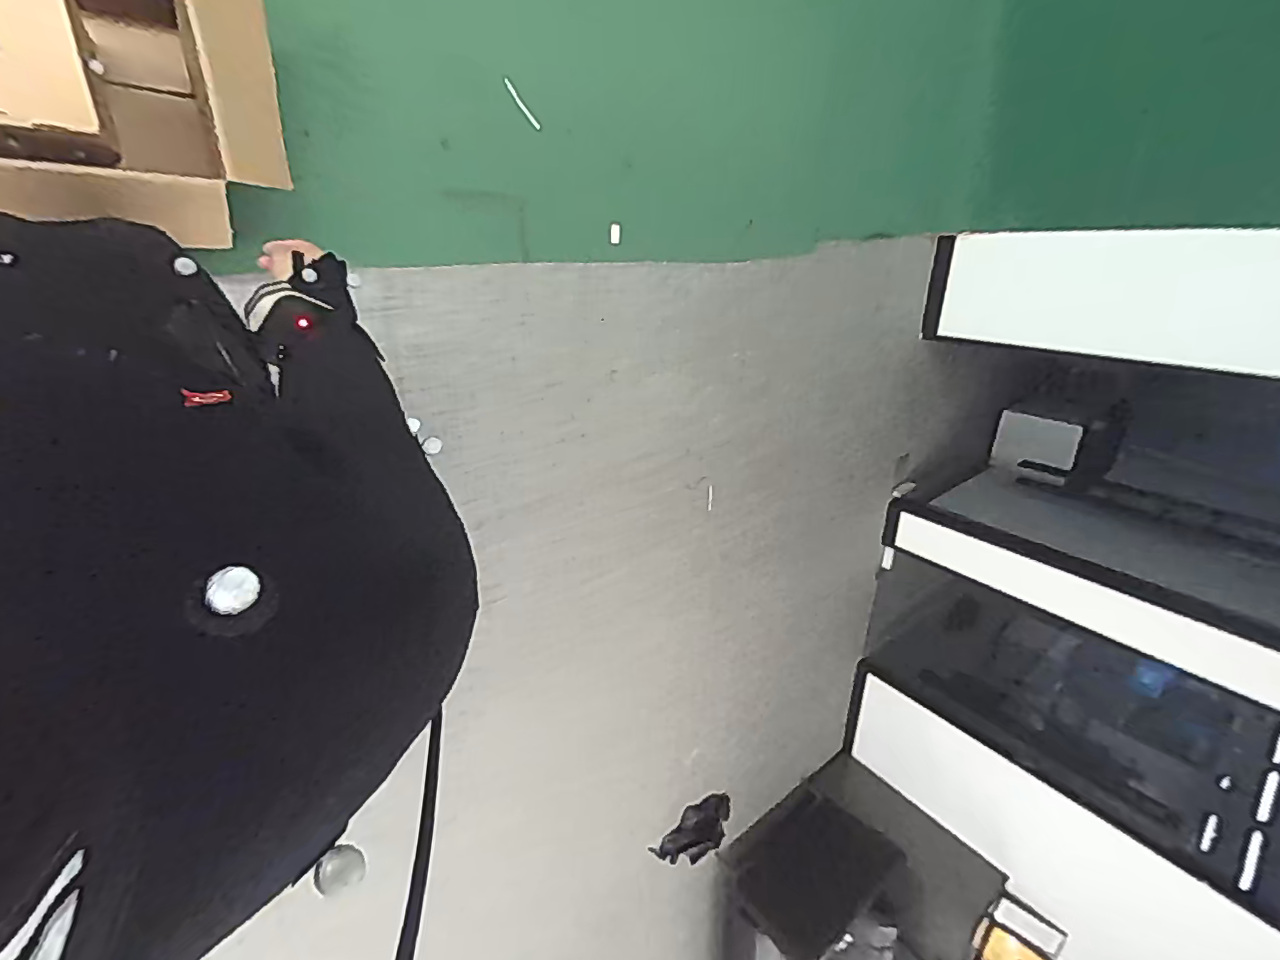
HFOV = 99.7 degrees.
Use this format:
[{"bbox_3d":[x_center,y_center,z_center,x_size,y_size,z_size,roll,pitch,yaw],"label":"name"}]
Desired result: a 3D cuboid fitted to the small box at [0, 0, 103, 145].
[{"bbox_3d":[-0.770,-0.515,0.632,0.168,0.176,0.179,-14,117,-36],"label":"small box"}]
